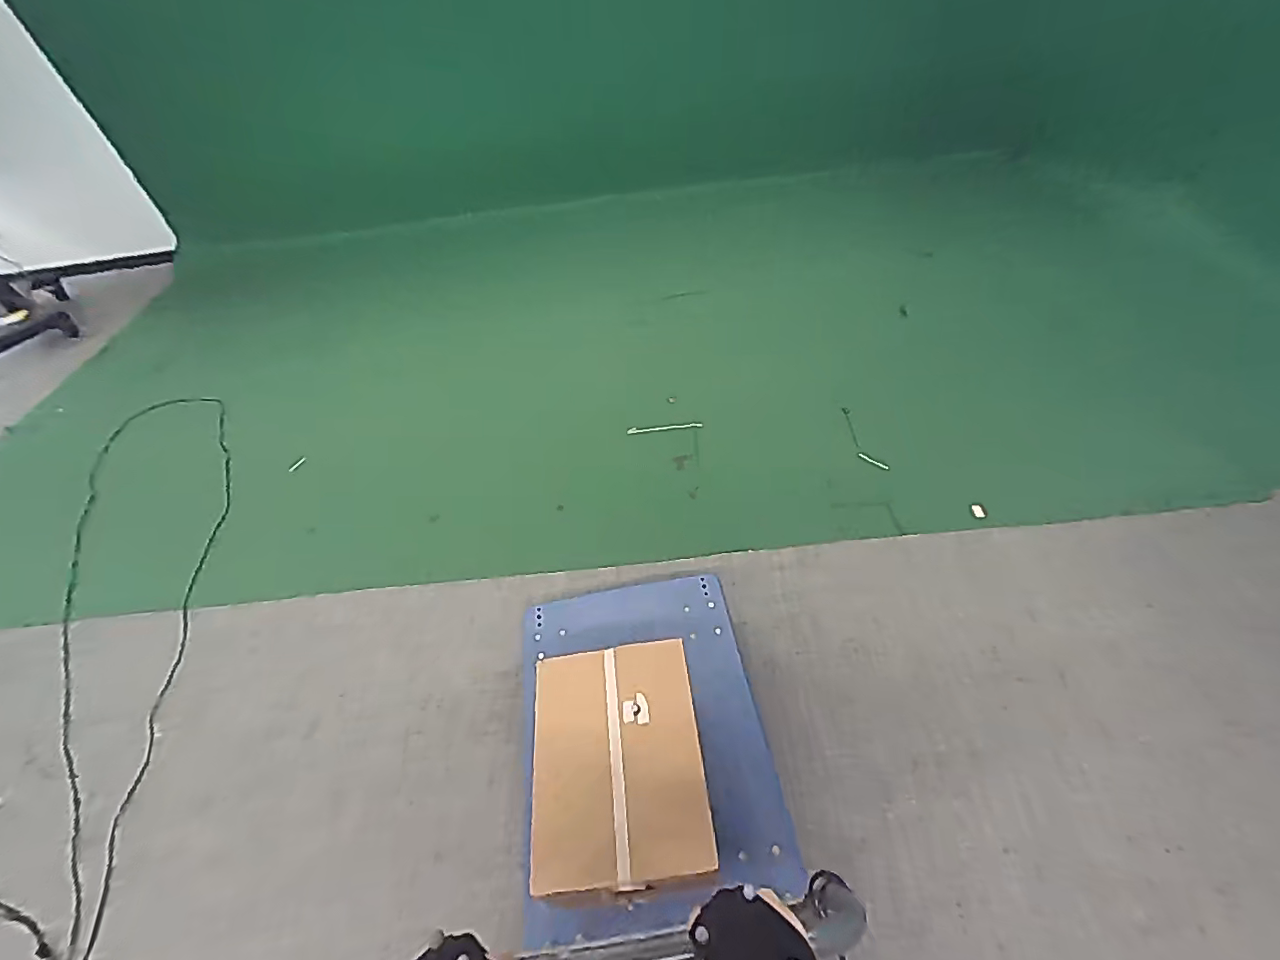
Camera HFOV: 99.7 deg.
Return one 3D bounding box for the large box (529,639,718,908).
[{"bbox_3d":[-0.031,0.604,1.122,0.320,0.320,0.408,-8,47,1],"label":"large box"}]
